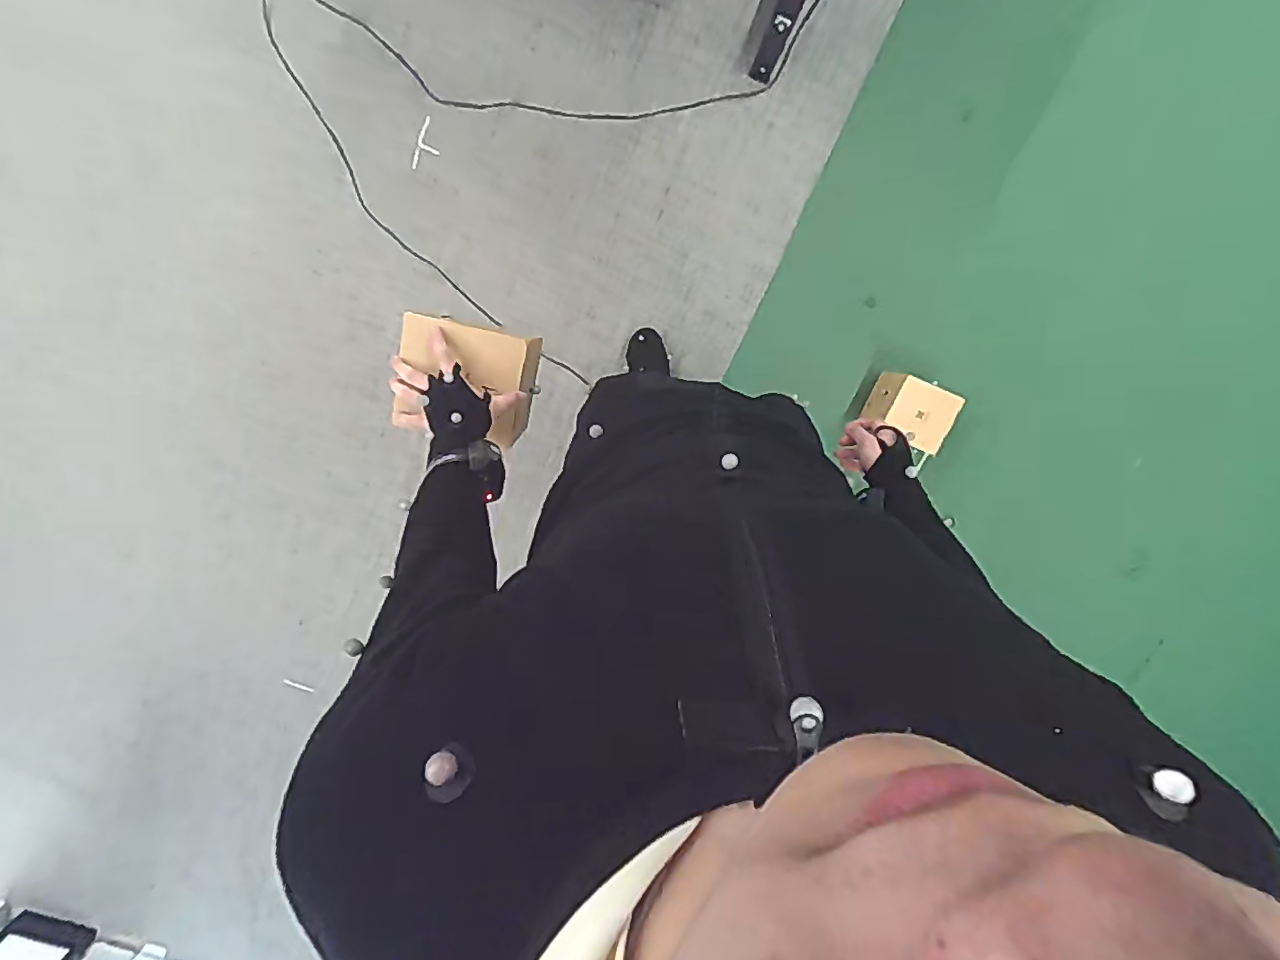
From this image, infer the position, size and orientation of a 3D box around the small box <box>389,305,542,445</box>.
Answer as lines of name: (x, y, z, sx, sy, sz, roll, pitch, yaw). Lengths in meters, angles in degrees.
small box: (-0.264, -0.169, 0.848, 0.179, 0.176, 0.168, 13, 107, -6)

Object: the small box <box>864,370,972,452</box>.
small box: (0.753, -0.195, 1.490, 0.179, 0.176, 0.168, 22, 104, -5)
